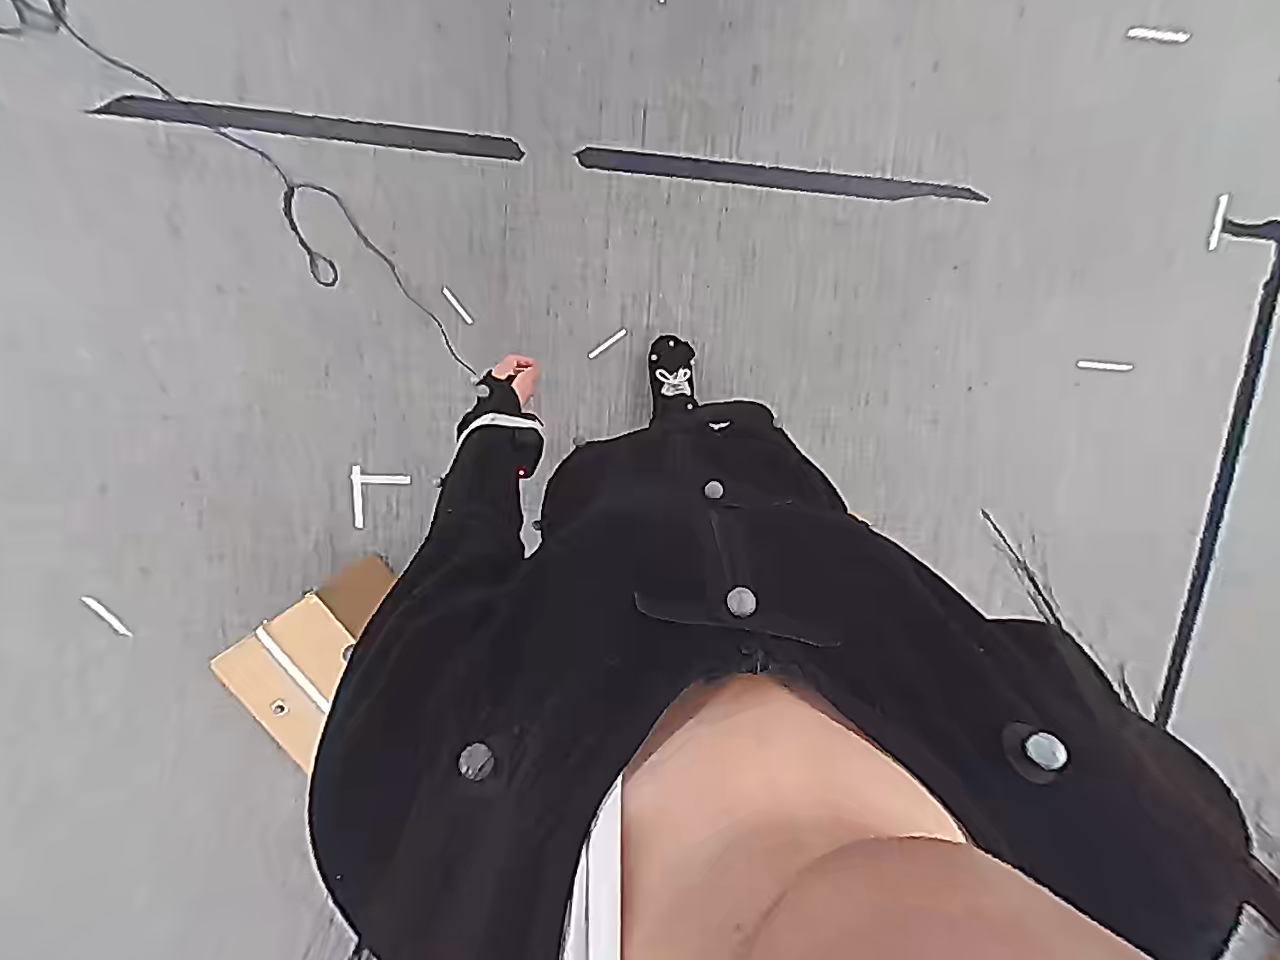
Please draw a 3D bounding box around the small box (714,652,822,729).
[{"bbox_3d":[0.301,0.550,1.320,0.168,0.176,0.179,-43,100,7],"label":"small box"}]

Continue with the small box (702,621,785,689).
[{"bbox_3d":[0.290,0.522,1.479,0.168,0.176,0.179,-39,99,5],"label":"small box"}]
